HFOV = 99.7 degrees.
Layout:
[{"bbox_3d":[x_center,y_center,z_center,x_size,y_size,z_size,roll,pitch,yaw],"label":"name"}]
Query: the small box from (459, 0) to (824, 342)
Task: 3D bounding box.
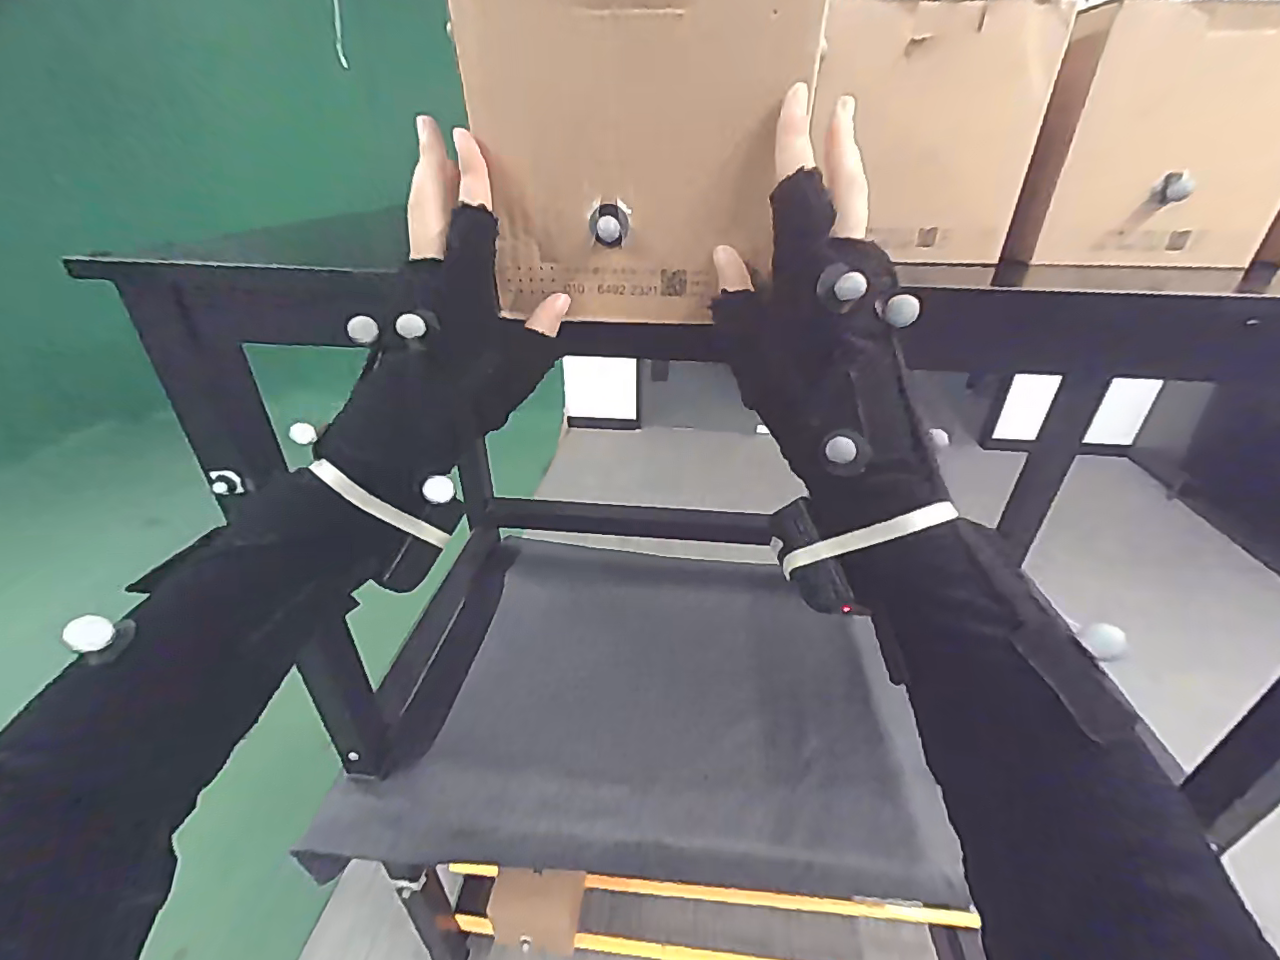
[{"bbox_3d":[0.004,-0.204,0.344,0.168,0.176,0.179,2,39,4],"label":"small box"}]
